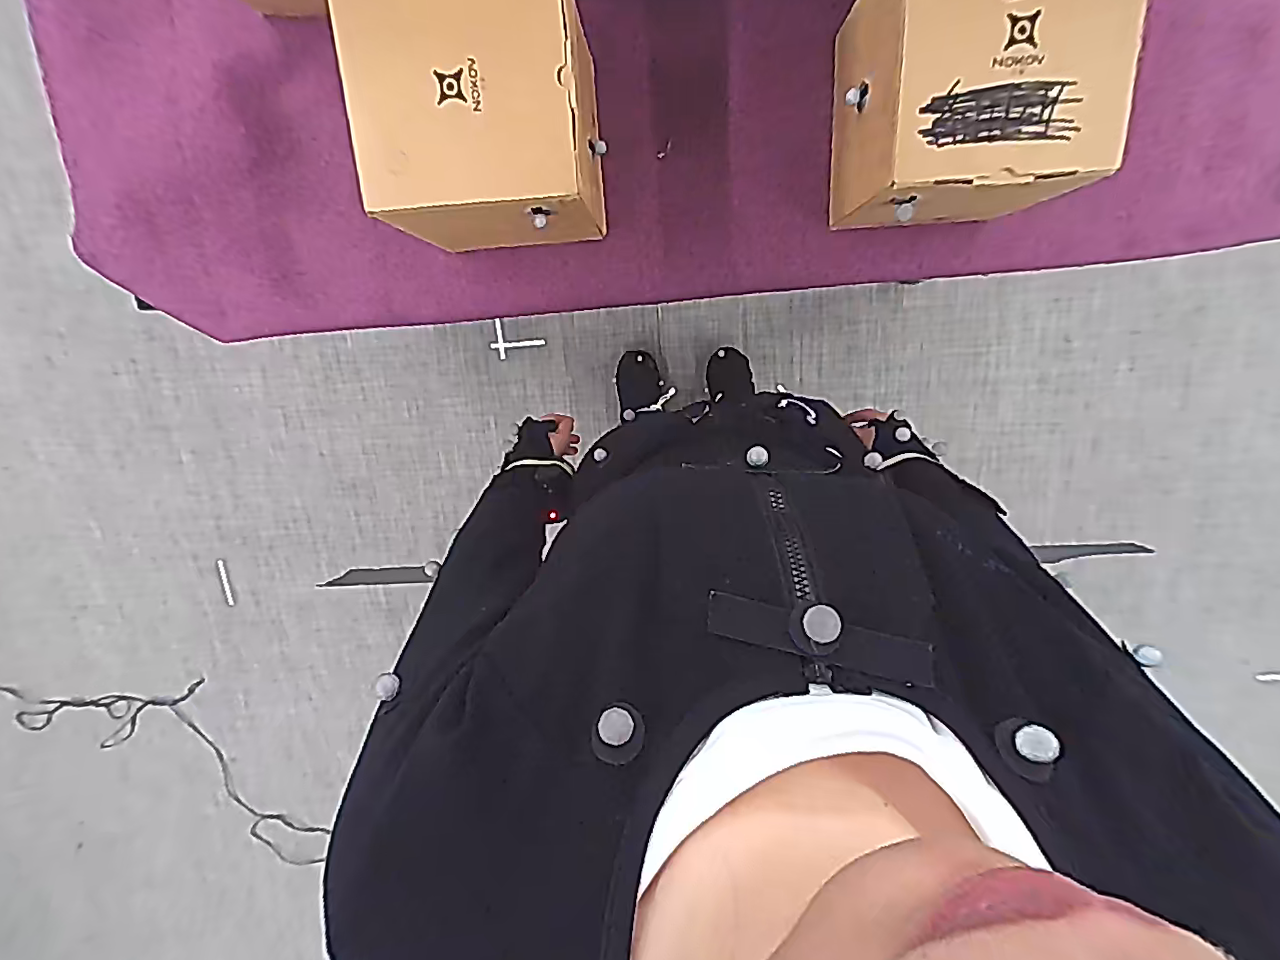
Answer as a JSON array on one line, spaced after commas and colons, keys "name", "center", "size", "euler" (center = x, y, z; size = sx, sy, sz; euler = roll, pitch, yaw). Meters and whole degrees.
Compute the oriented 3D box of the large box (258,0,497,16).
[{"name": "large box", "center": [-0.235, -0.618, 0.342], "size": [0.320, 0.320, 0.408], "euler": [-2, 107, 3]}]
